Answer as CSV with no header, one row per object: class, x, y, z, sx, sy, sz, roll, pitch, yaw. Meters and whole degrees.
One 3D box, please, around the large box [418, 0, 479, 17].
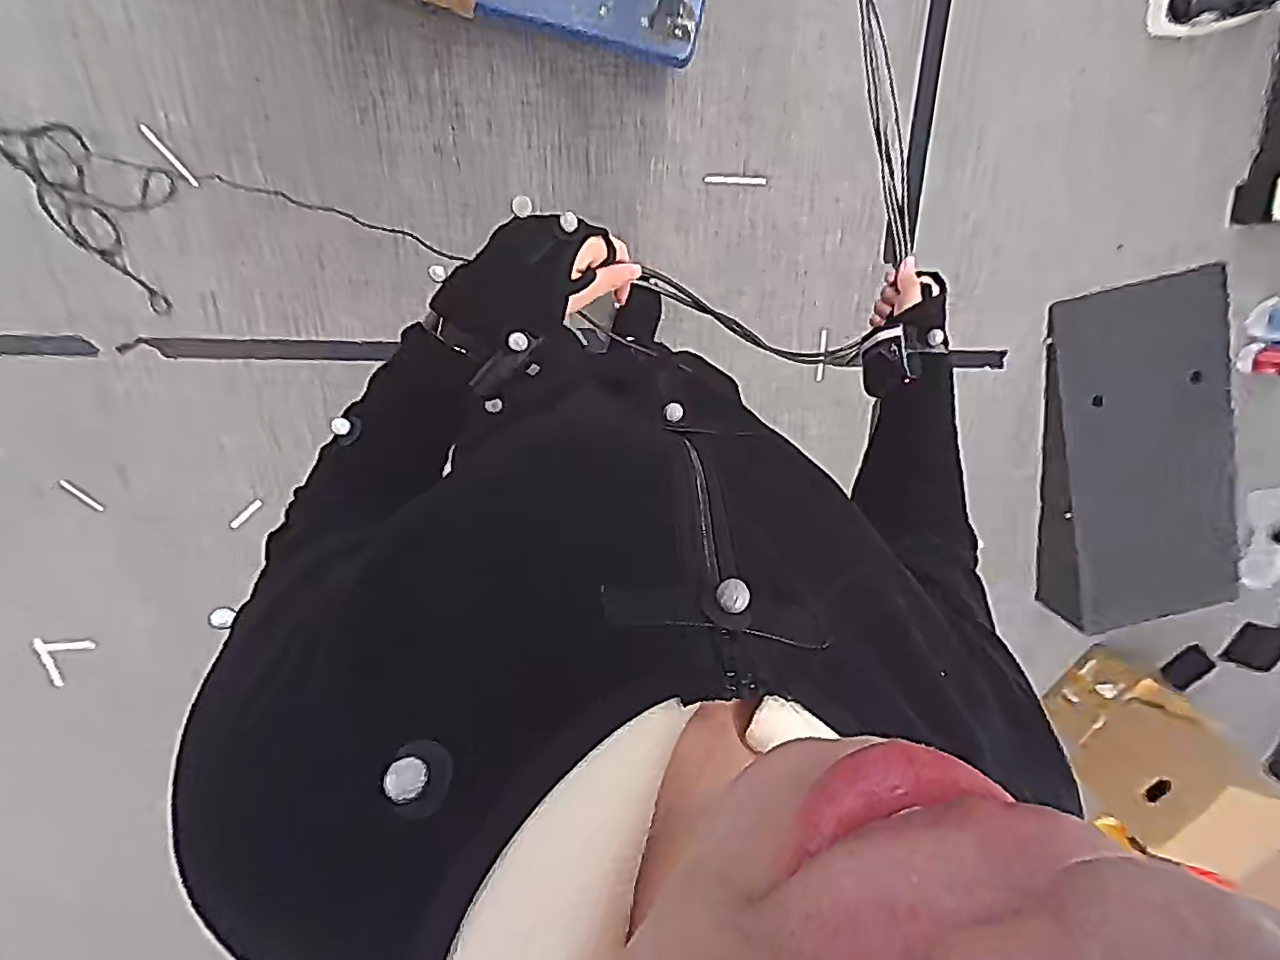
large box,-0.440,-0.979,0.781,0.408,0.320,0.320,14,107,-10
